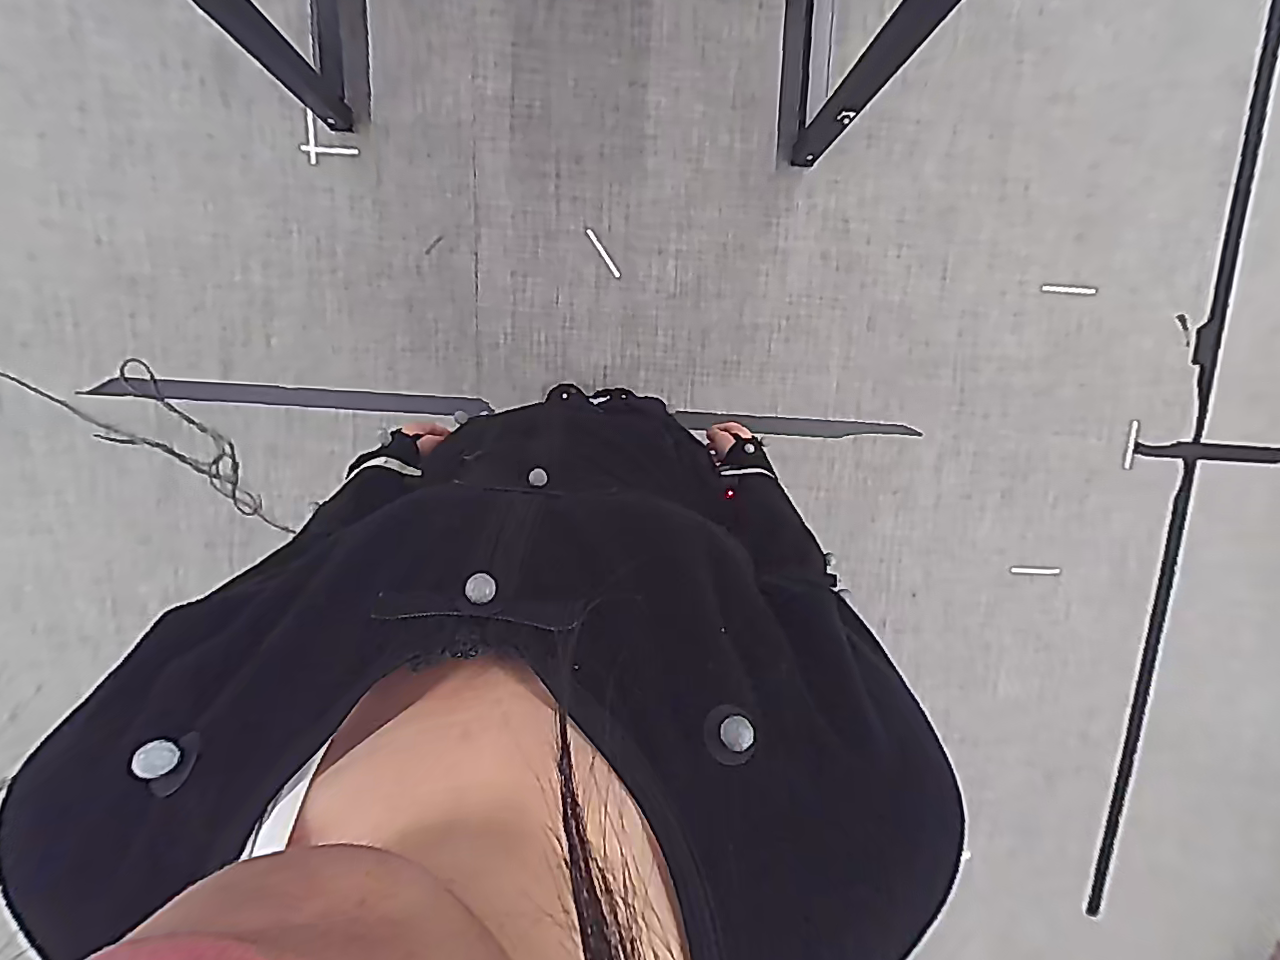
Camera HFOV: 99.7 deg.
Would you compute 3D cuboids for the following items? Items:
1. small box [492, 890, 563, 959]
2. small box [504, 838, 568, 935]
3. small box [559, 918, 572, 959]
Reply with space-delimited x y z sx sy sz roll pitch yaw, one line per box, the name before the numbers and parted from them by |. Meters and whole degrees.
small box | -0.296 1.229 1.430 0.168 0.176 0.179 3 100 -4
small box | -0.302 1.189 1.590 0.168 0.176 0.179 0 101 -3
small box | -0.297 1.466 1.637 0.168 0.176 0.179 -5 99 -3
